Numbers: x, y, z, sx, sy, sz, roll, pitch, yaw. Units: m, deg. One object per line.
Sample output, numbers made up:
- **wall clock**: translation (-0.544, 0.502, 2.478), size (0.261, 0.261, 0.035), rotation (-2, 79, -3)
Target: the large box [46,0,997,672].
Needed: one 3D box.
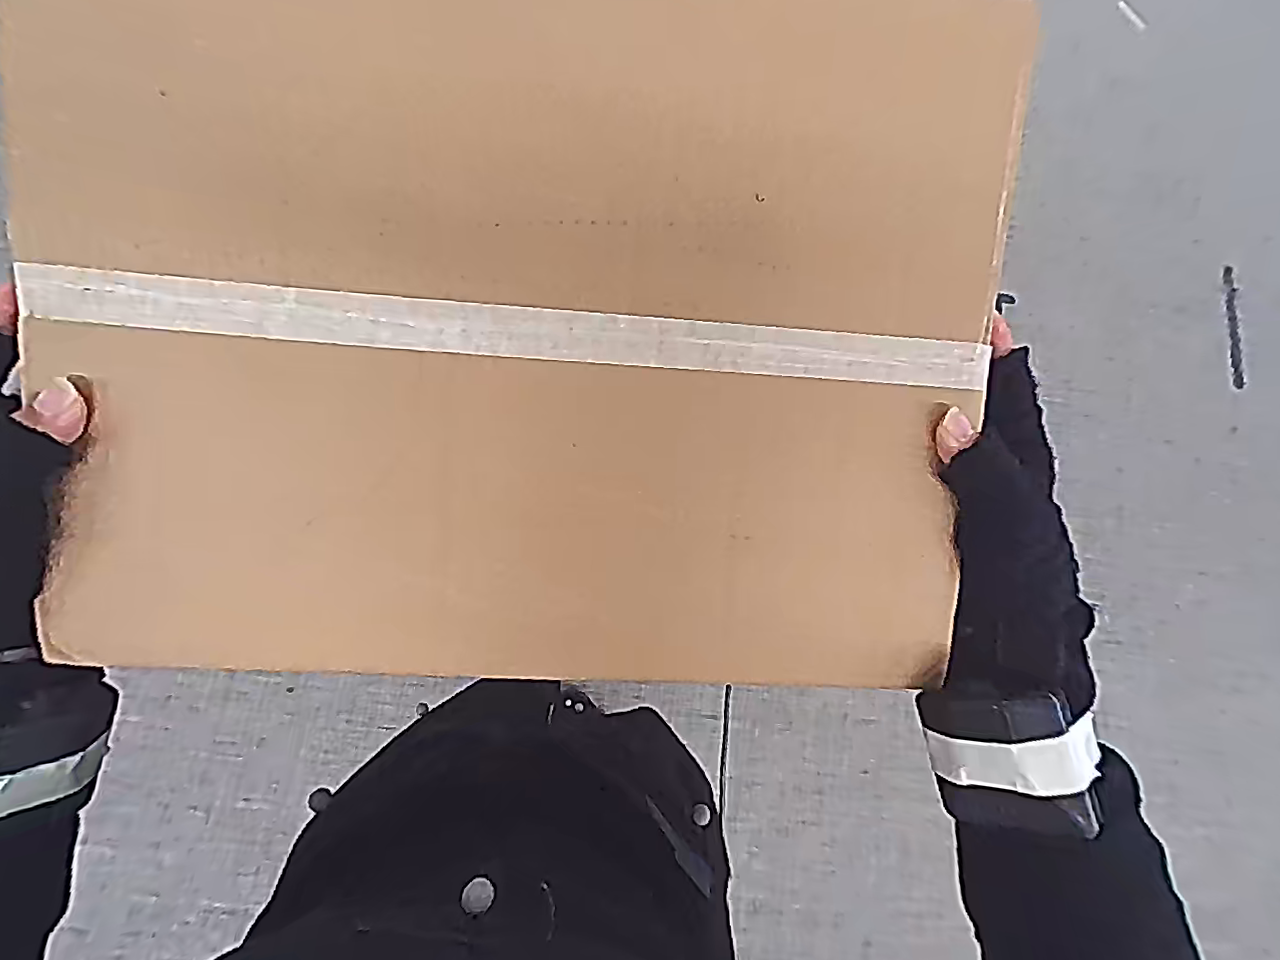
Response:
- **large box**: translation (-0.055, -0.081, 0.392), size (0.408, 0.320, 0.320), rotation (4, 96, -6)
